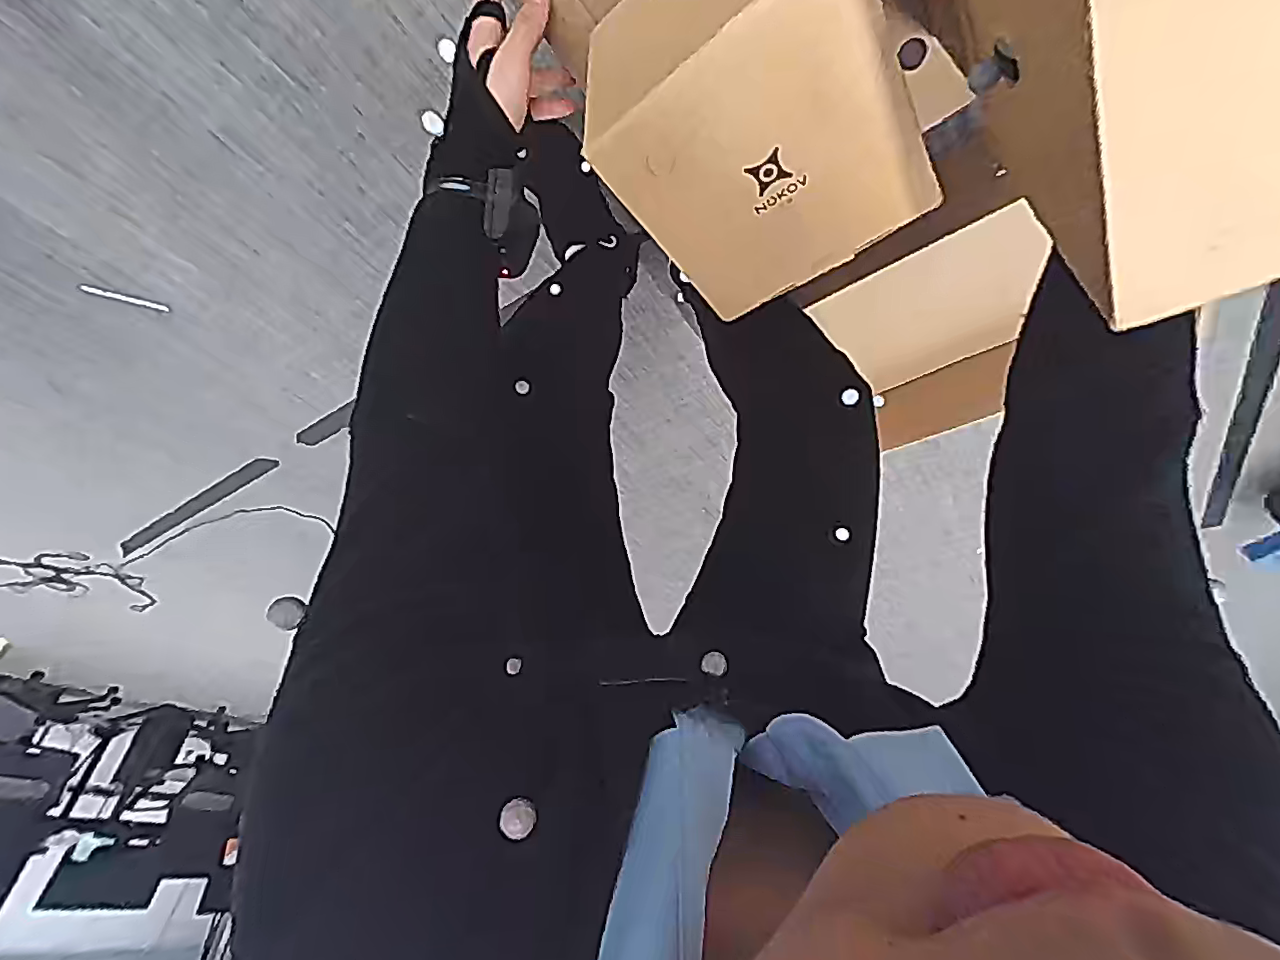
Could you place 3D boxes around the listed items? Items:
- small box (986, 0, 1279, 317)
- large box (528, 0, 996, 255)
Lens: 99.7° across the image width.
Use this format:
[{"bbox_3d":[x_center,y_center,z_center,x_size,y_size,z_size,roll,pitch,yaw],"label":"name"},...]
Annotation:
[{"bbox_3d":[0.226,-0.196,0.173,0.179,0.176,0.168,-22,138,31],"label":"small box"},{"bbox_3d":[0.151,-0.497,0.461,0.408,0.320,0.320,-23,137,32],"label":"large box"}]
